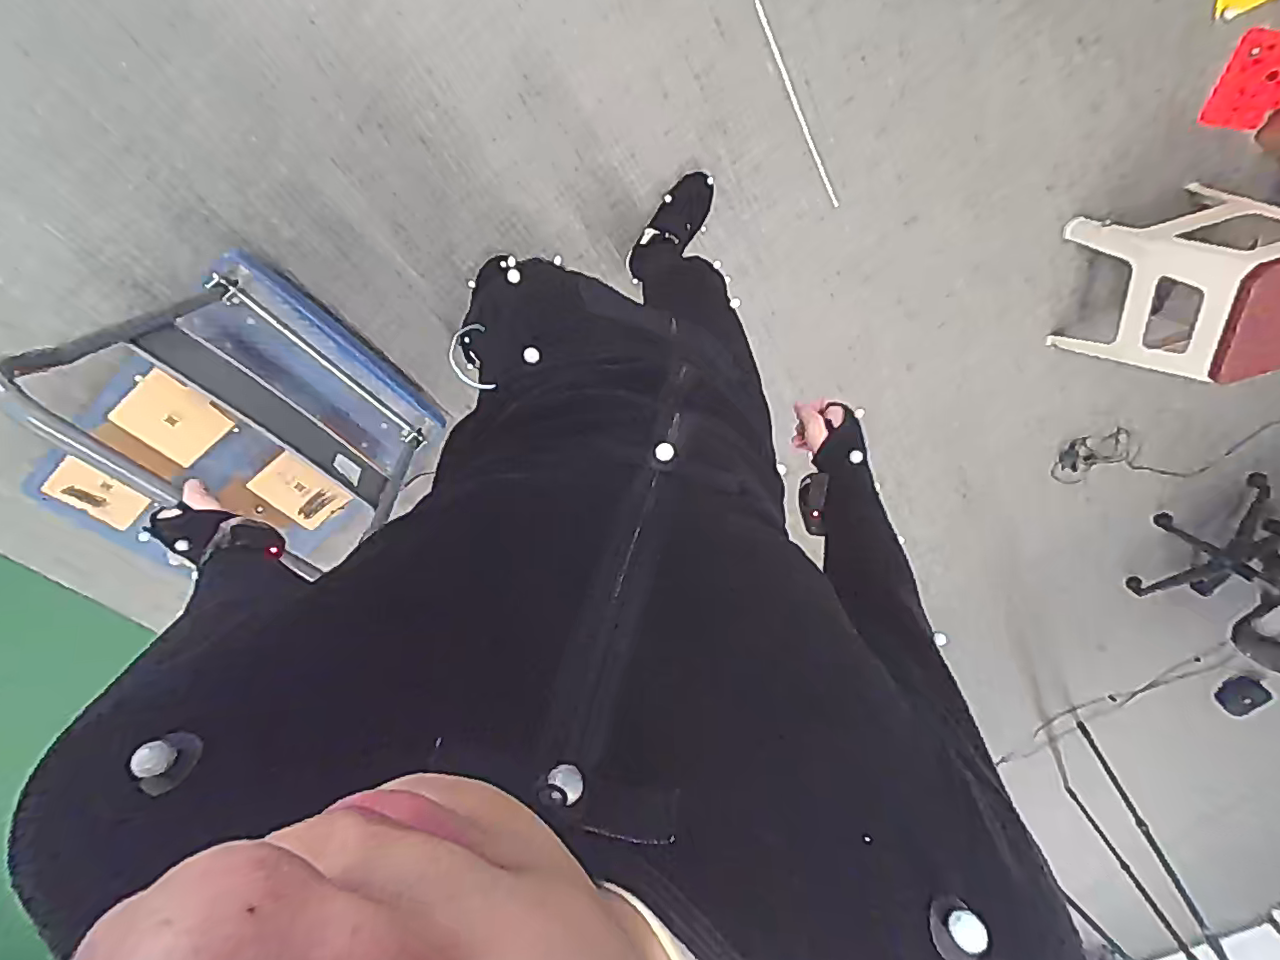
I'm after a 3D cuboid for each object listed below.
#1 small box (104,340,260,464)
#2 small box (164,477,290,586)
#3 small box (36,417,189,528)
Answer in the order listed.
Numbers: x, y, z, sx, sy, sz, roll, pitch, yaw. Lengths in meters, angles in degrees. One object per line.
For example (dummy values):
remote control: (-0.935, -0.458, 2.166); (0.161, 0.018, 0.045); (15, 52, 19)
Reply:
small box: (-0.982, -0.173, 1.181); (0.179, 0.176, 0.168); (-36, 121, 12)
small box: (-1.024, 0.125, 1.361); (0.179, 0.176, 0.168); (-40, 119, 15)
small box: (-1.180, -0.031, 1.232); (0.179, 0.176, 0.168); (-39, 121, 14)
